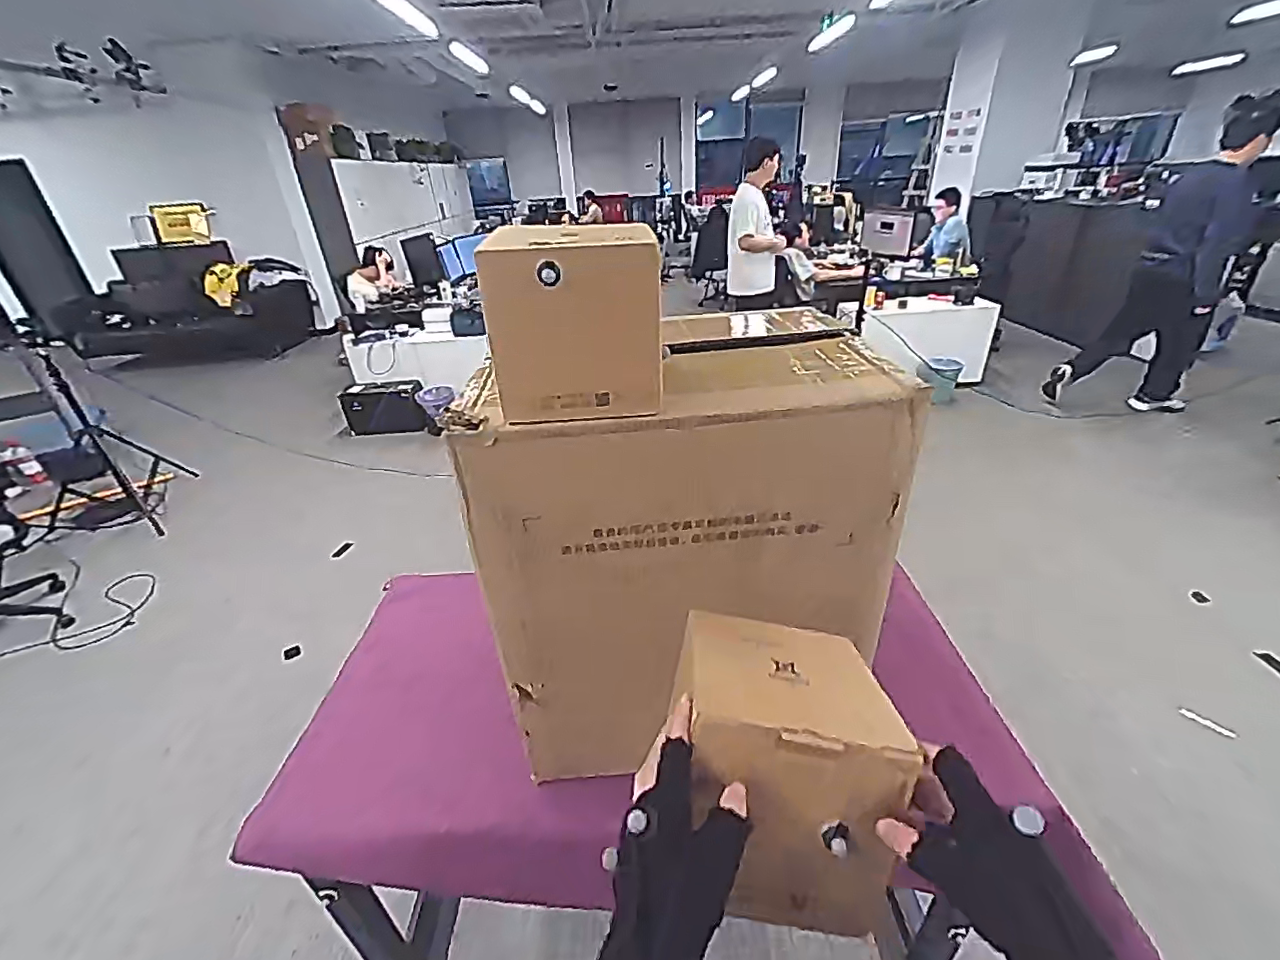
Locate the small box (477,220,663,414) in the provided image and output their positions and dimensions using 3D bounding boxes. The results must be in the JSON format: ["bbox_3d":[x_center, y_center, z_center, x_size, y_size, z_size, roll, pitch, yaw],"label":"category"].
[{"bbox_3d":[-0.065,-0.181,0.584,0.168,0.176,0.179,-4,30,-2],"label":"small box"}]

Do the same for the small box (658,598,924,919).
[{"bbox_3d":[0.111,0.227,0.472,0.168,0.176,0.179,10,11,1],"label":"small box"}]
